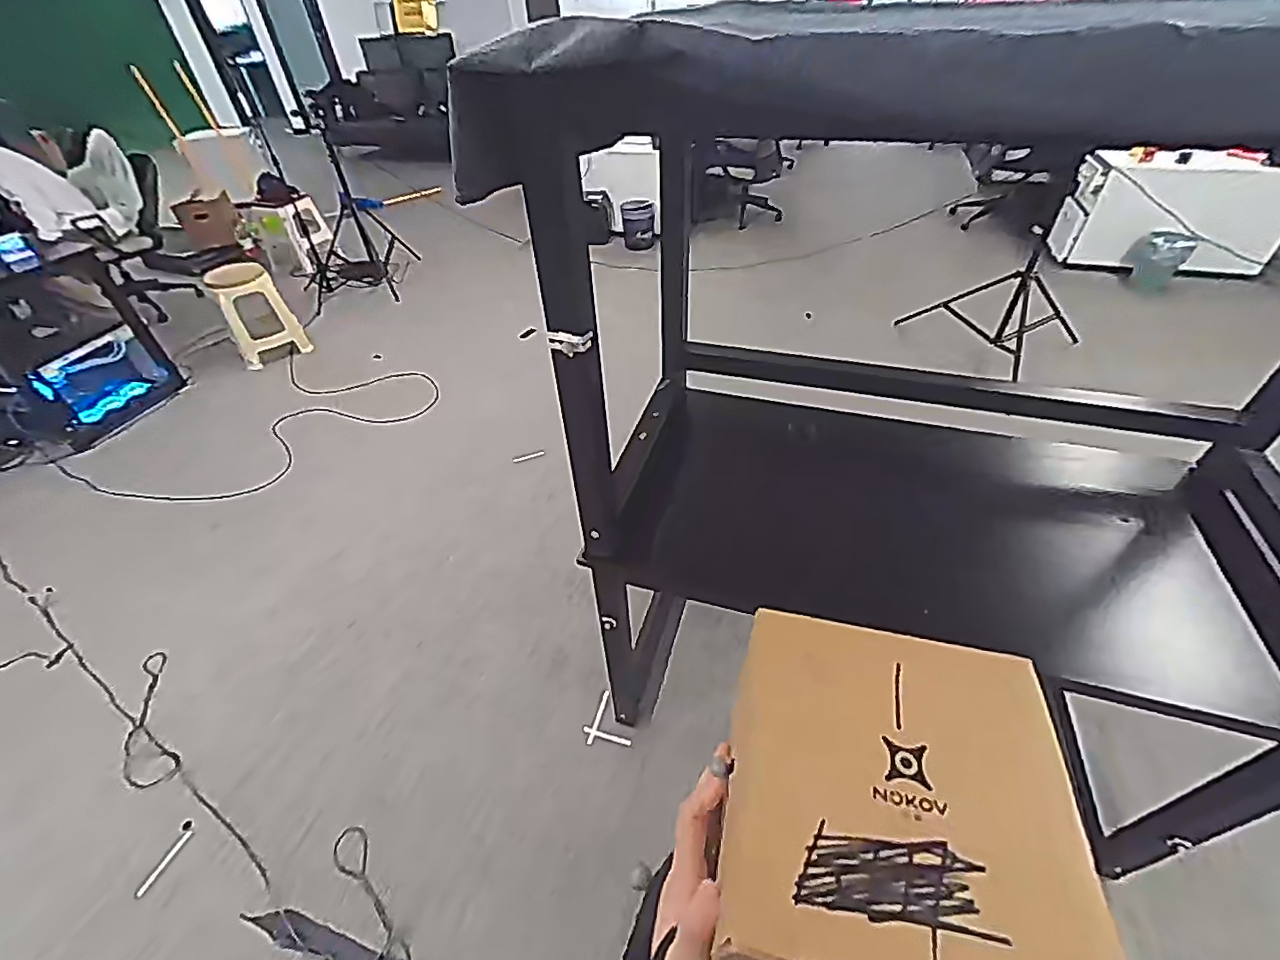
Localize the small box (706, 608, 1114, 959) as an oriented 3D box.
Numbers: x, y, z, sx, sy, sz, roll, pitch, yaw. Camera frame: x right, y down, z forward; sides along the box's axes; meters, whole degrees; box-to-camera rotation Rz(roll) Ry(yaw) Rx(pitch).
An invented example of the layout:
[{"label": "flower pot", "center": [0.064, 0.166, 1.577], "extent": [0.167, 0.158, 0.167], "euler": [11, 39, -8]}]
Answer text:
[{"label": "small box", "center": [0.136, 0.212, 0.336], "extent": [0.168, 0.176, 0.179], "euler": [9, 45, 10]}]
